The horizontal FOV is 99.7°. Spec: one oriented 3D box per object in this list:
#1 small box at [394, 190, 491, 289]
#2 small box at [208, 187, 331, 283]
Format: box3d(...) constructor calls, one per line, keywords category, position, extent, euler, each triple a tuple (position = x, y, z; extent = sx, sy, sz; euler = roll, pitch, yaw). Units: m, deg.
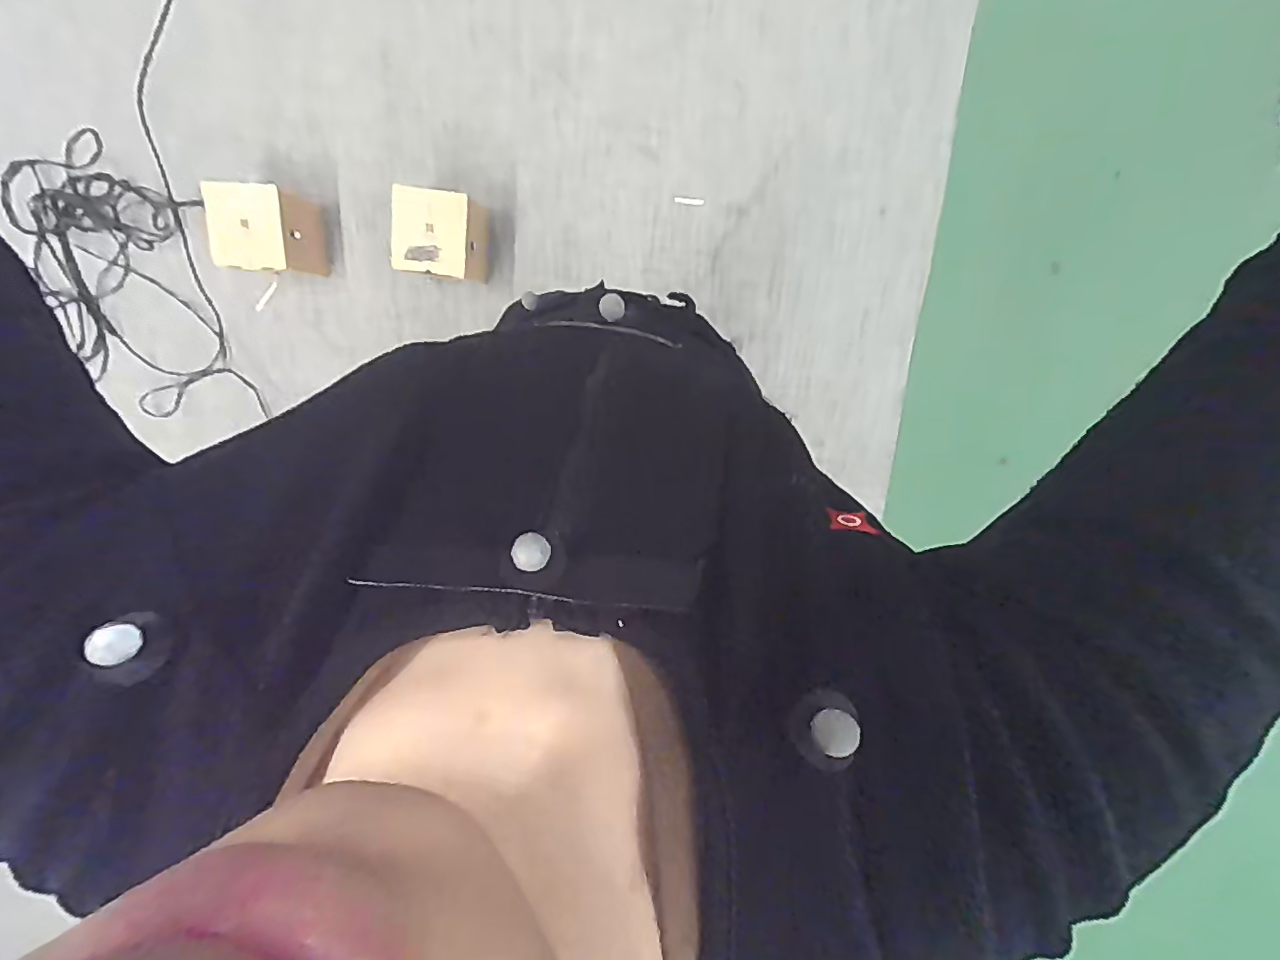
box3d(category="small box", position=(-0.457, -0.553, 1.267), extent=(0.168, 0.176, 0.179), euler=(7, 104, -1))
box3d(category="small box", position=(-0.860, -0.568, 1.271), extent=(0.168, 0.176, 0.179), euler=(3, 105, 1))
